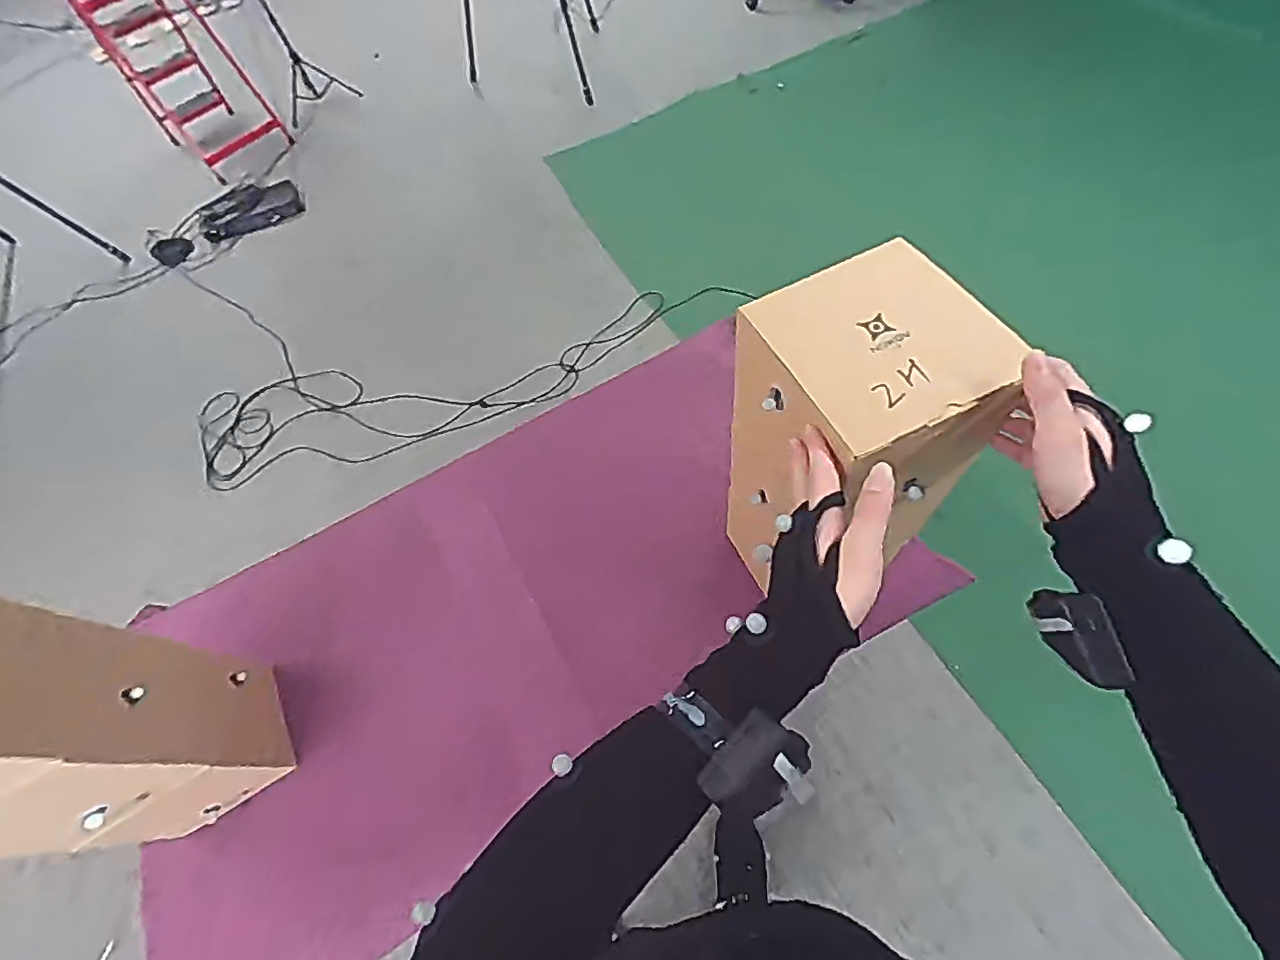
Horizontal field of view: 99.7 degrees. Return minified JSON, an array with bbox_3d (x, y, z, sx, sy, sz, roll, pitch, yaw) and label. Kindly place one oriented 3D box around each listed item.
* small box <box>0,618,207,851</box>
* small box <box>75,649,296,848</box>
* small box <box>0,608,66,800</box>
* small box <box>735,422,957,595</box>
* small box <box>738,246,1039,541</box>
[{"bbox_3d":[-0.643,0.290,0.611,0.168,0.176,0.179,-32,63,-9],"label":"small box"},{"bbox_3d":[-0.624,0.369,0.753,0.168,0.176,0.179,-31,63,-9],"label":"small box"},{"bbox_3d":[-0.663,0.214,0.469,0.168,0.176,0.179,-32,62,-9],"label":"small box"},{"bbox_3d":[0.223,0.009,0.645,0.168,0.176,0.179,-26,60,-5],"label":"small box"},{"bbox_3d":[0.199,-0.073,0.501,0.168,0.176,0.179,-24,60,-4],"label":"small box"}]
